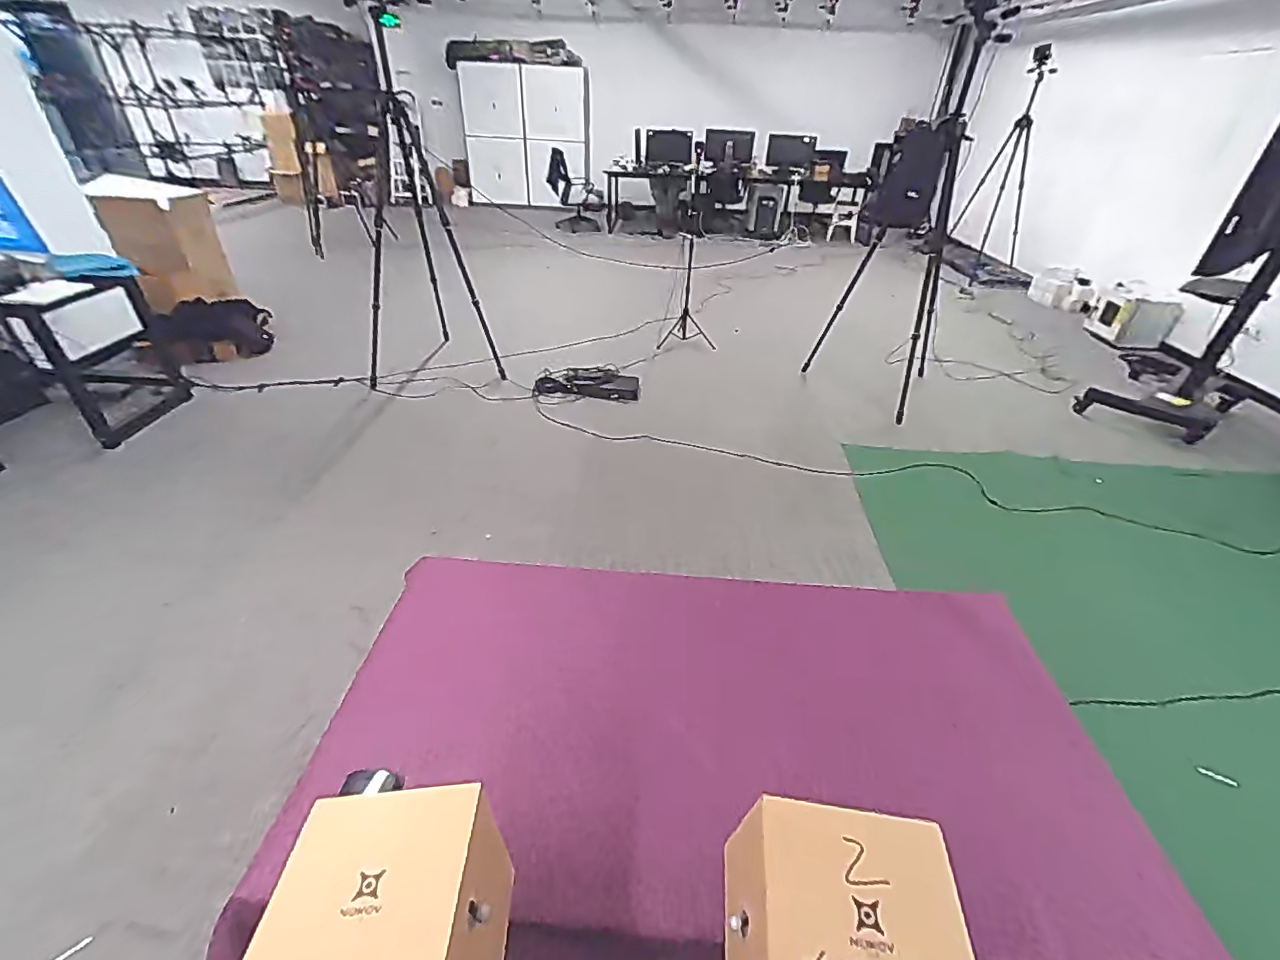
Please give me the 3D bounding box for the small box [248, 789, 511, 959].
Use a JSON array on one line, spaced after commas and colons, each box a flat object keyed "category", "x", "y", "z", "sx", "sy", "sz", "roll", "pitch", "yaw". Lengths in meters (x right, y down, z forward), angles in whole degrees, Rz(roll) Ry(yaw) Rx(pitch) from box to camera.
[{"category": "small box", "x": -0.222, "y": 0.422, "z": 0.497, "sx": 0.168, "sy": 0.176, "sz": 0.179, "roll": -5, "pitch": 30, "yaw": -1}]
